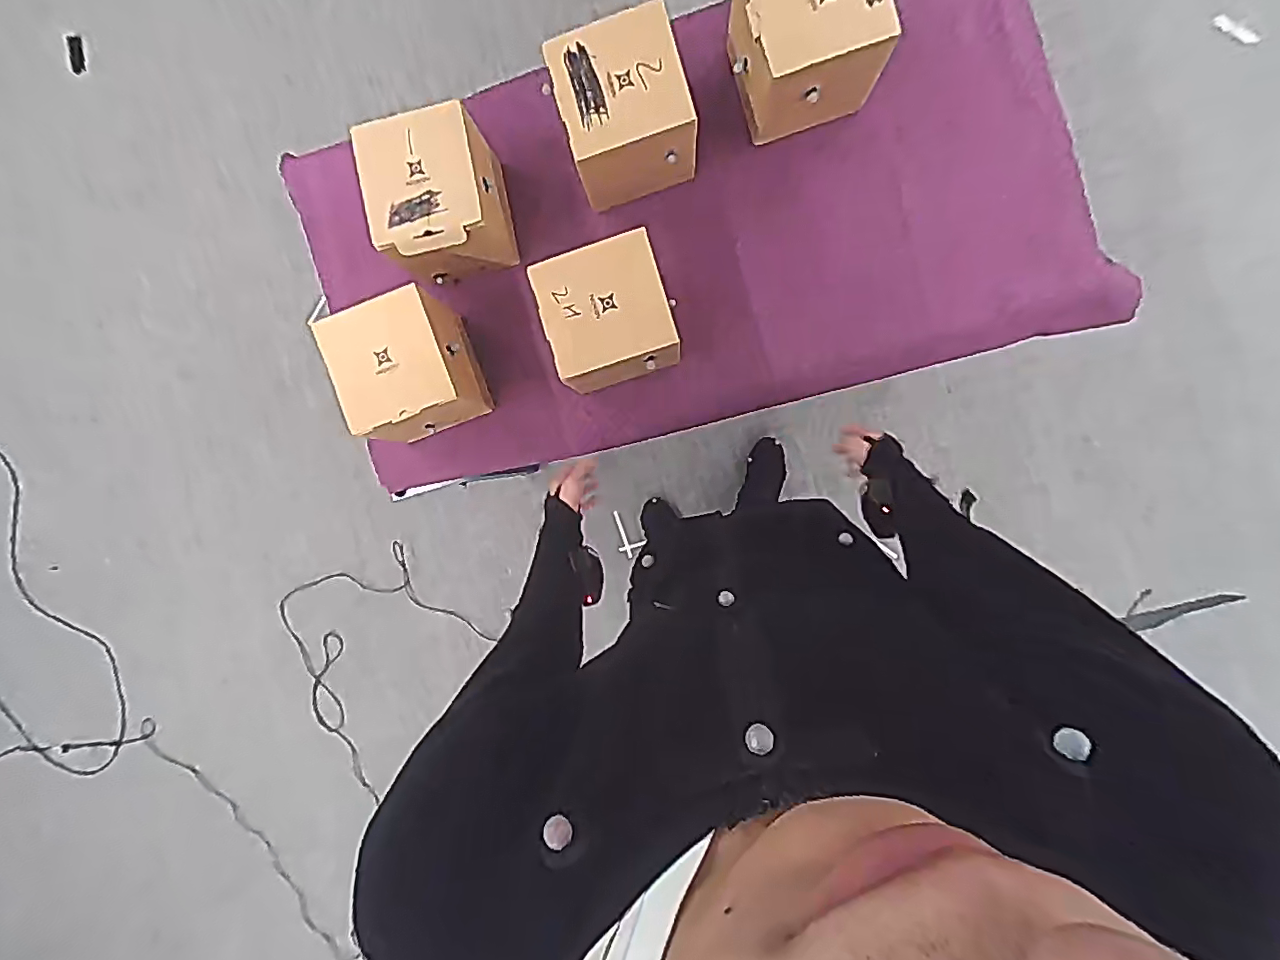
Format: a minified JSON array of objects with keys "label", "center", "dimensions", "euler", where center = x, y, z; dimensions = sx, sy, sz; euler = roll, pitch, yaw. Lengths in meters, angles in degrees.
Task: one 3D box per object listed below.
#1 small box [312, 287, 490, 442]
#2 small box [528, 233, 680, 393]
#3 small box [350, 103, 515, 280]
[{"label":"small box","center":[-0.359,-0.168,0.843],"dimensions":[0.168,0.176,0.179],"euler":[-21,91,3]},{"label":"small box","center":[-0.046,-0.239,0.818],"dimensions":[0.179,0.176,0.168],"euler":[-17,91,5]},{"label":"small box","center":[-0.304,-0.423,0.830],"dimensions":[0.168,0.176,0.179],"euler":[-11,92,4]}]
